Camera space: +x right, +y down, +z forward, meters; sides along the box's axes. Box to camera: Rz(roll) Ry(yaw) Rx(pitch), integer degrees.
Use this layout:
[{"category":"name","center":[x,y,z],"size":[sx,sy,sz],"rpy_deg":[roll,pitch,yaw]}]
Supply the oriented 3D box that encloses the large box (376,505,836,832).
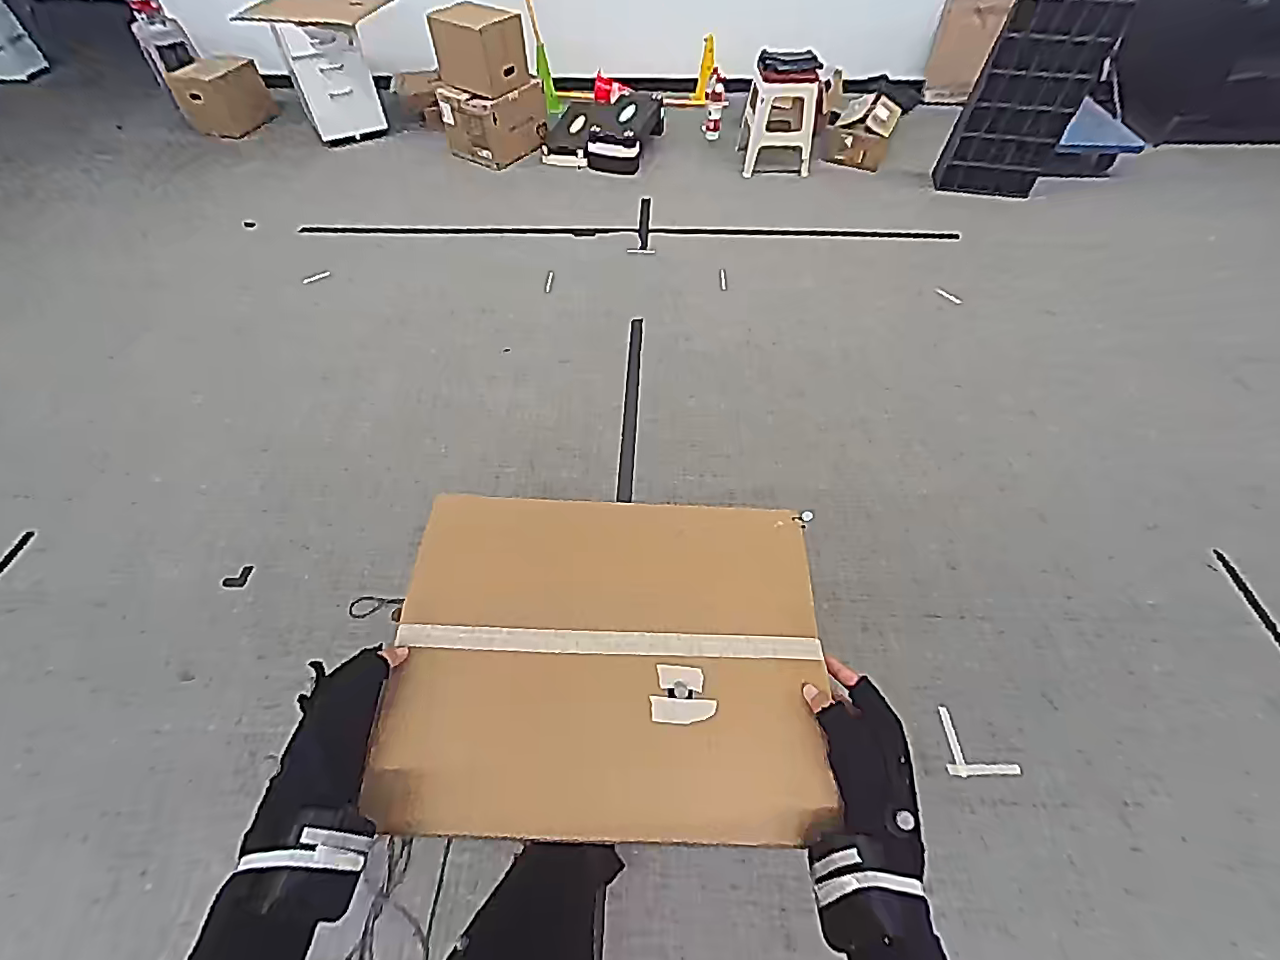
[{"category":"large box","center":[-0.033,0.245,0.664],"size":[0.408,0.320,0.320],"rpy_deg":[3,57,-1]}]
